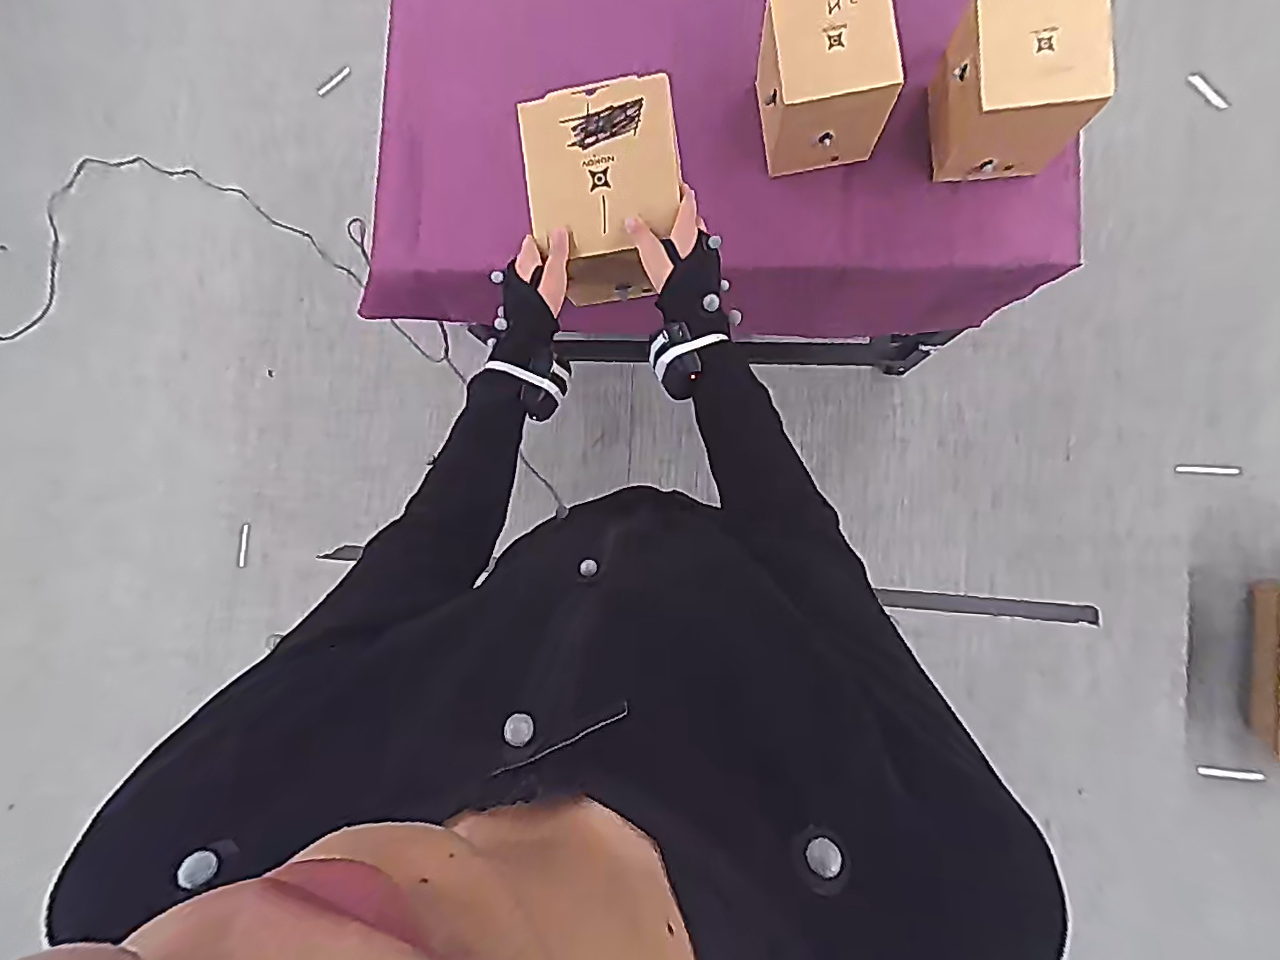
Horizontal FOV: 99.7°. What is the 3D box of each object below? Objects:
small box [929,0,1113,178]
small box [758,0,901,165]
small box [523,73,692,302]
[{"bbox_3d":[0.551,-0.589,0.807,0.168,0.176,0.179,-1,86,7],"label":"small box"},{"bbox_3d":[0.282,-0.622,0.840,0.168,0.176,0.179,-7,85,6],"label":"small box"},{"bbox_3d":[-0.029,-0.337,0.658,0.168,0.176,0.179,-6,92,9],"label":"small box"}]
